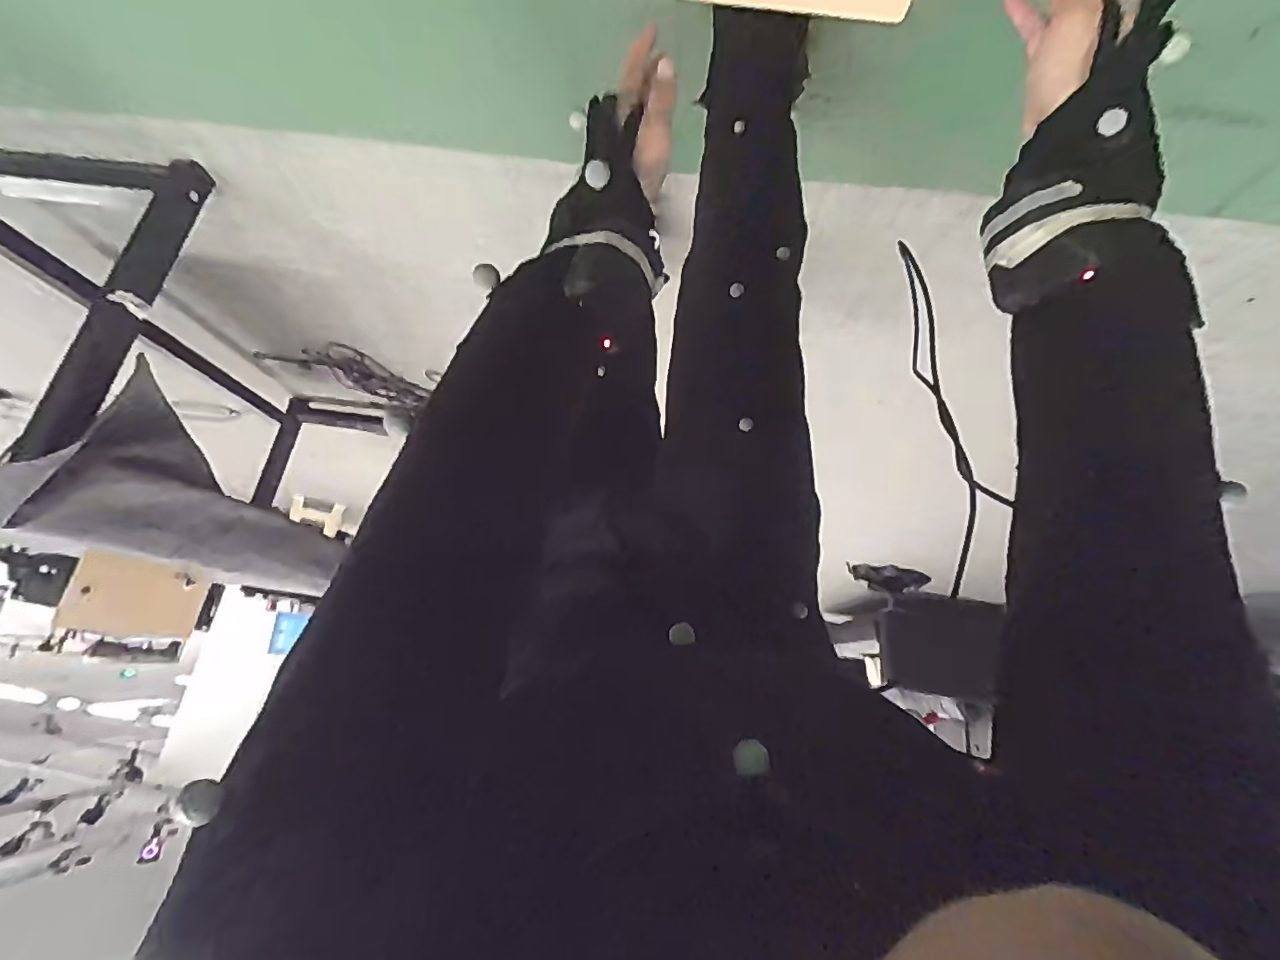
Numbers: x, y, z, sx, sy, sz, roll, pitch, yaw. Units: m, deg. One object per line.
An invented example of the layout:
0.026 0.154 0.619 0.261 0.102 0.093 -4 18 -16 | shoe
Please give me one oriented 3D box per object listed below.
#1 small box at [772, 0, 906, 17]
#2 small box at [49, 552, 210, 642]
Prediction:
0.114 -0.434 0.318 0.168 0.176 0.179 8 162 3 | small box
-1.124 0.262 1.210 0.179 0.176 0.168 7 163 3 | small box
